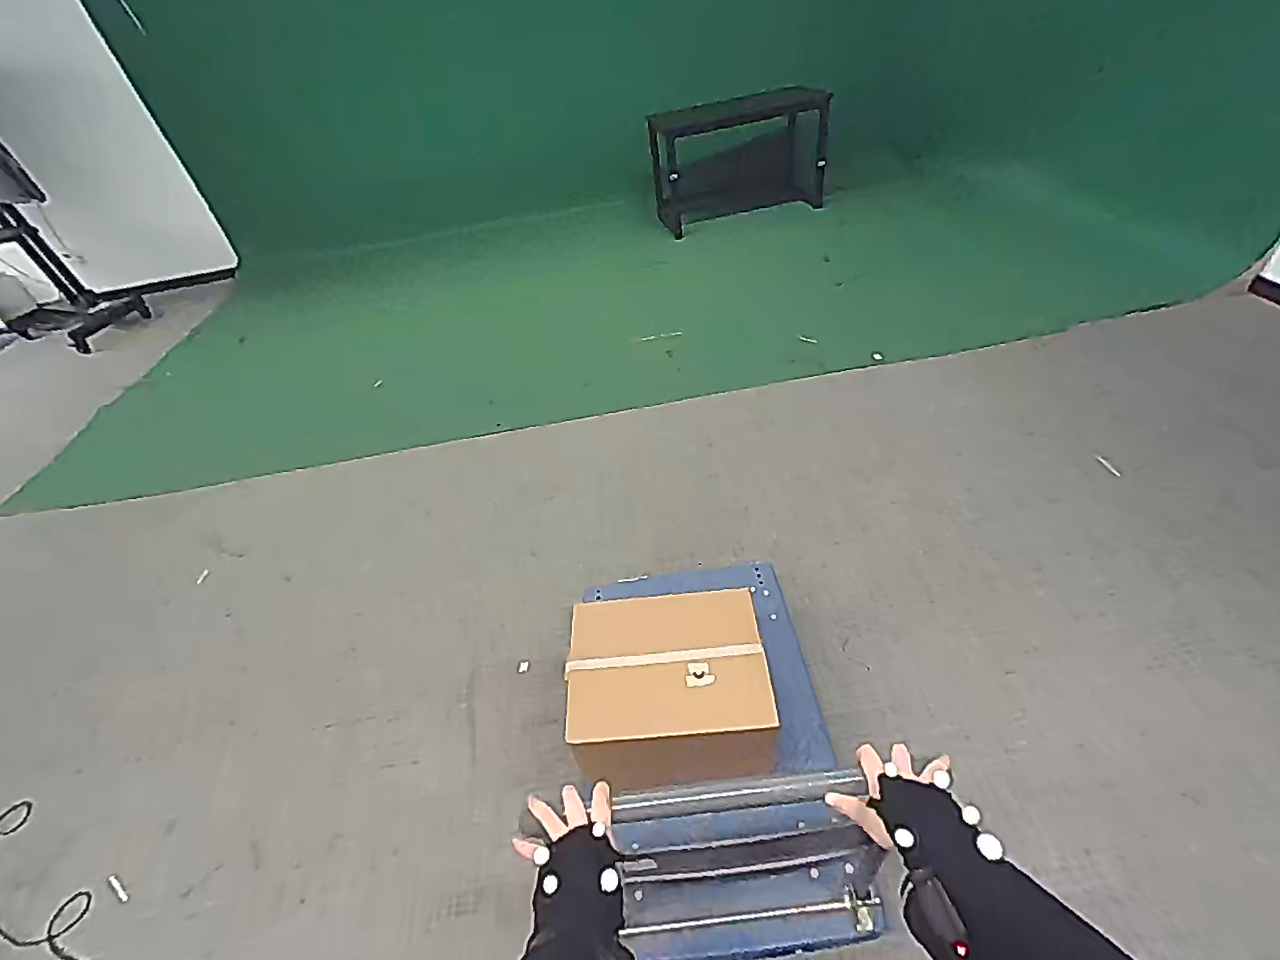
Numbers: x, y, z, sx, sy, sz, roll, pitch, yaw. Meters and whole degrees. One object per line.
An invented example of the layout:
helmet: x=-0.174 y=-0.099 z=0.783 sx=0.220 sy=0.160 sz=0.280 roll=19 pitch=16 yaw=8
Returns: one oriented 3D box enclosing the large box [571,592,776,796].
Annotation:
large box: x=0.070 y=0.491 z=1.238 sx=0.408 sy=0.320 sz=0.320 roll=-6 pitch=43 yaw=2
